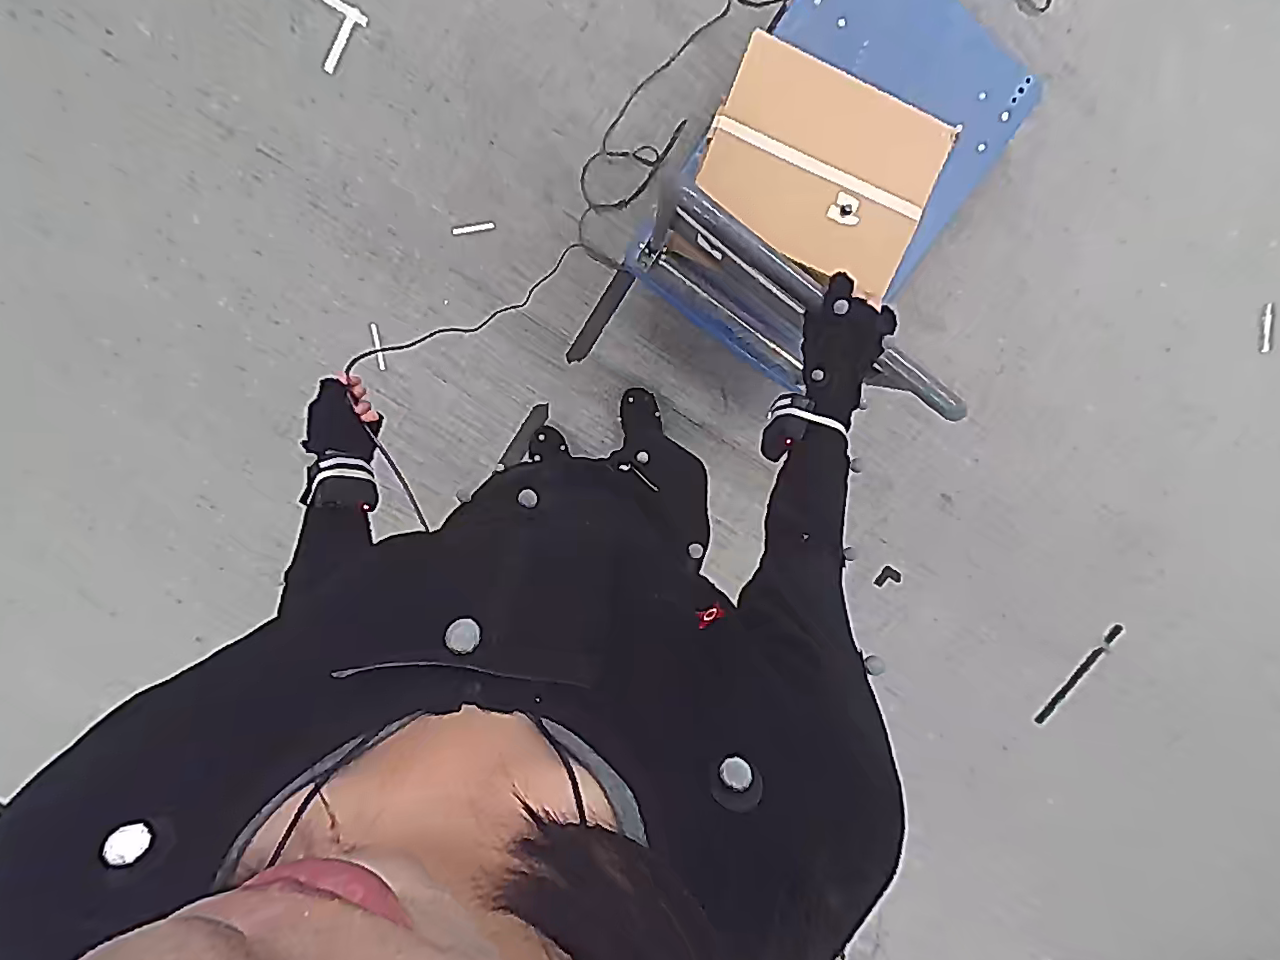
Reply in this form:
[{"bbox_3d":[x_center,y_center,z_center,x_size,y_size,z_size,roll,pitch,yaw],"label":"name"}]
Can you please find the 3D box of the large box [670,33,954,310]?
[{"bbox_3d":[0.313,-0.582,1.106,0.408,0.320,0.320,20,100,-7],"label":"large box"}]
